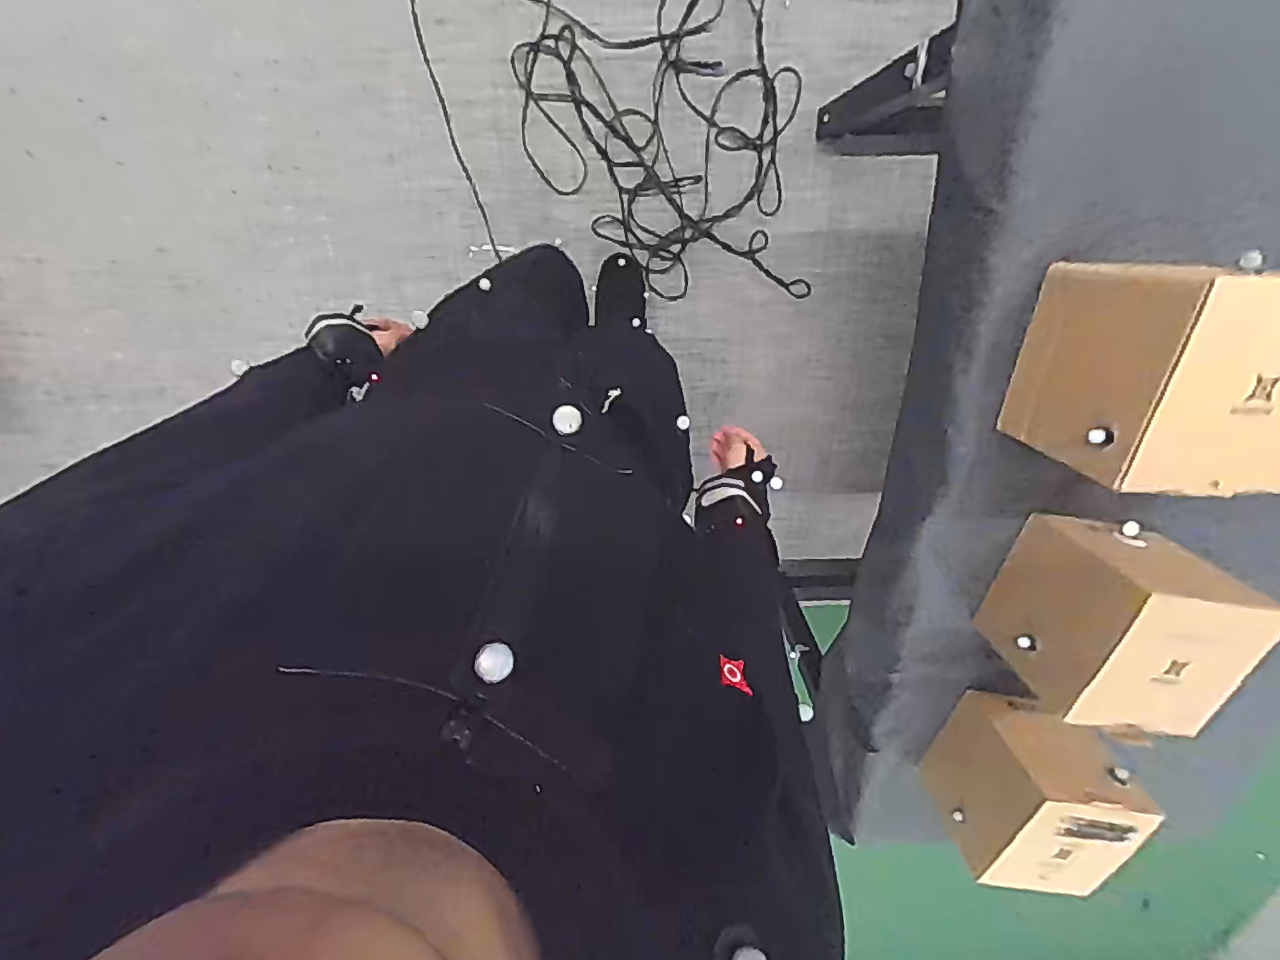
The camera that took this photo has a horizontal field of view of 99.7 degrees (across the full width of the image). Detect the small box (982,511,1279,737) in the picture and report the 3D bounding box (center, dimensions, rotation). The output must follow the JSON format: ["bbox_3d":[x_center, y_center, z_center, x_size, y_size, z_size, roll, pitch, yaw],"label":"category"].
[{"bbox_3d":[0.538,0.158,0.620,0.168,0.176,0.179,8,114,-6],"label":"small box"}]

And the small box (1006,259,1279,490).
[{"bbox_3d":[0.482,-0.104,0.495,0.168,0.176,0.179,0,116,-2],"label":"small box"}]
